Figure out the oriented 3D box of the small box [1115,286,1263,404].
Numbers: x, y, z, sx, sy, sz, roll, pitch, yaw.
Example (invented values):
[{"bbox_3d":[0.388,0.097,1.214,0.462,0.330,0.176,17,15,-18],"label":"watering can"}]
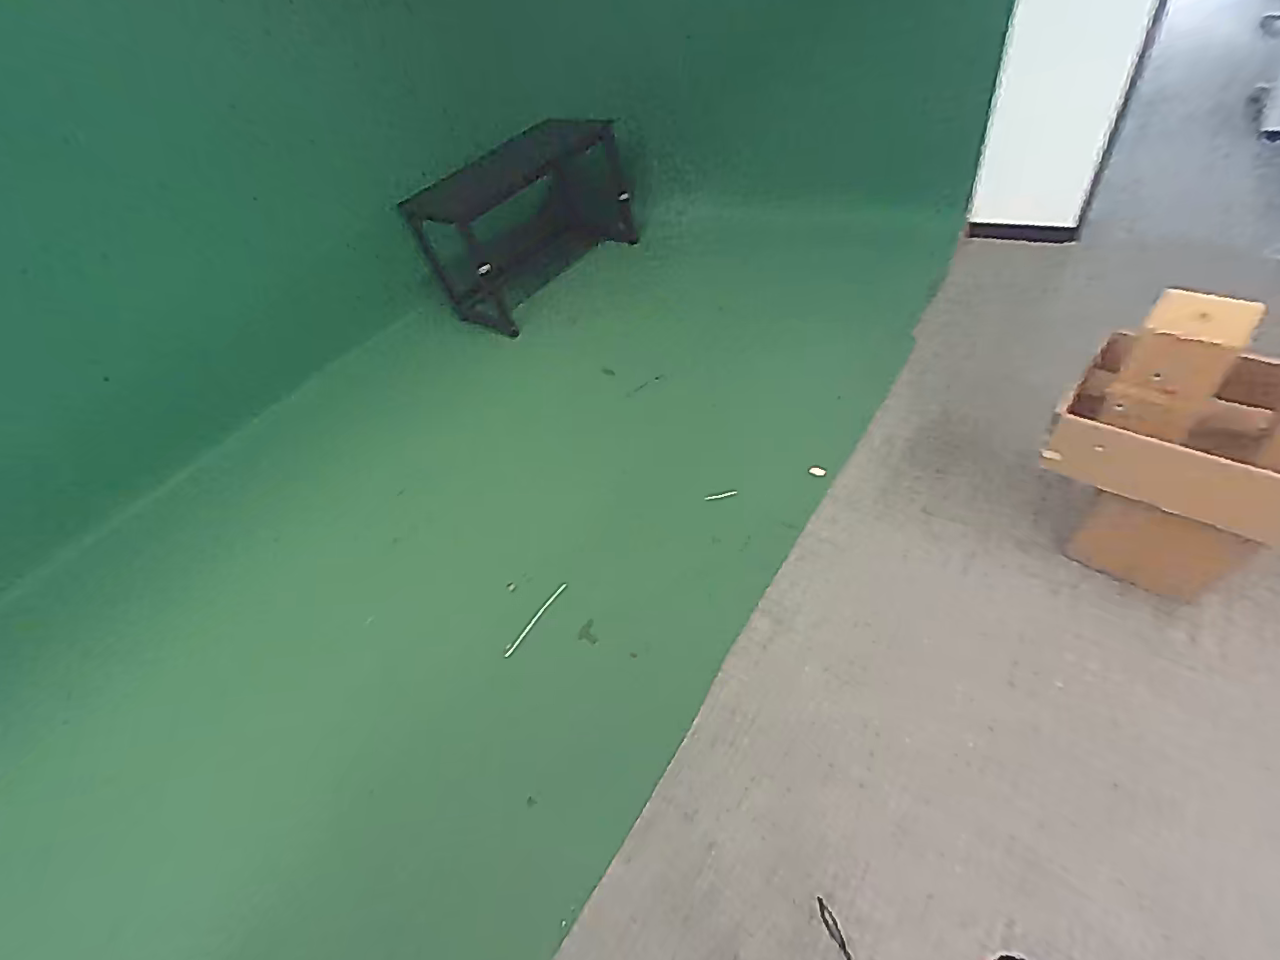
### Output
[{"bbox_3d":[1.229,-0.305,1.224,0.168,0.176,0.179,31,64,35],"label":"small box"}]
